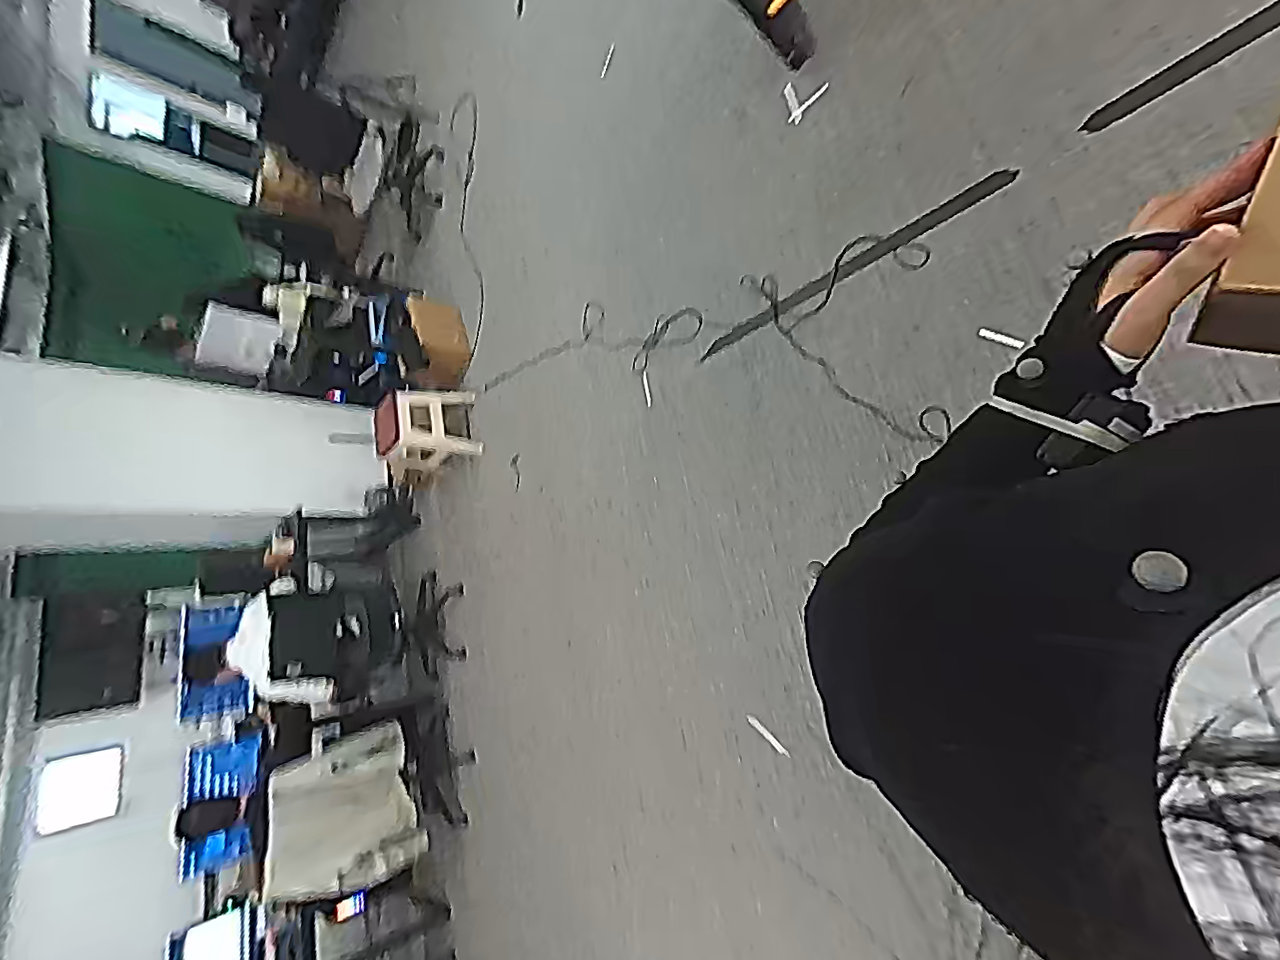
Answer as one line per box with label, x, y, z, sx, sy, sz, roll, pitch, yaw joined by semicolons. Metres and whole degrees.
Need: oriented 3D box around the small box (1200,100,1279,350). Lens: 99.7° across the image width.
small box;0.451;-0.170;0.295;0.168;0.176;0.179;21;103;41
